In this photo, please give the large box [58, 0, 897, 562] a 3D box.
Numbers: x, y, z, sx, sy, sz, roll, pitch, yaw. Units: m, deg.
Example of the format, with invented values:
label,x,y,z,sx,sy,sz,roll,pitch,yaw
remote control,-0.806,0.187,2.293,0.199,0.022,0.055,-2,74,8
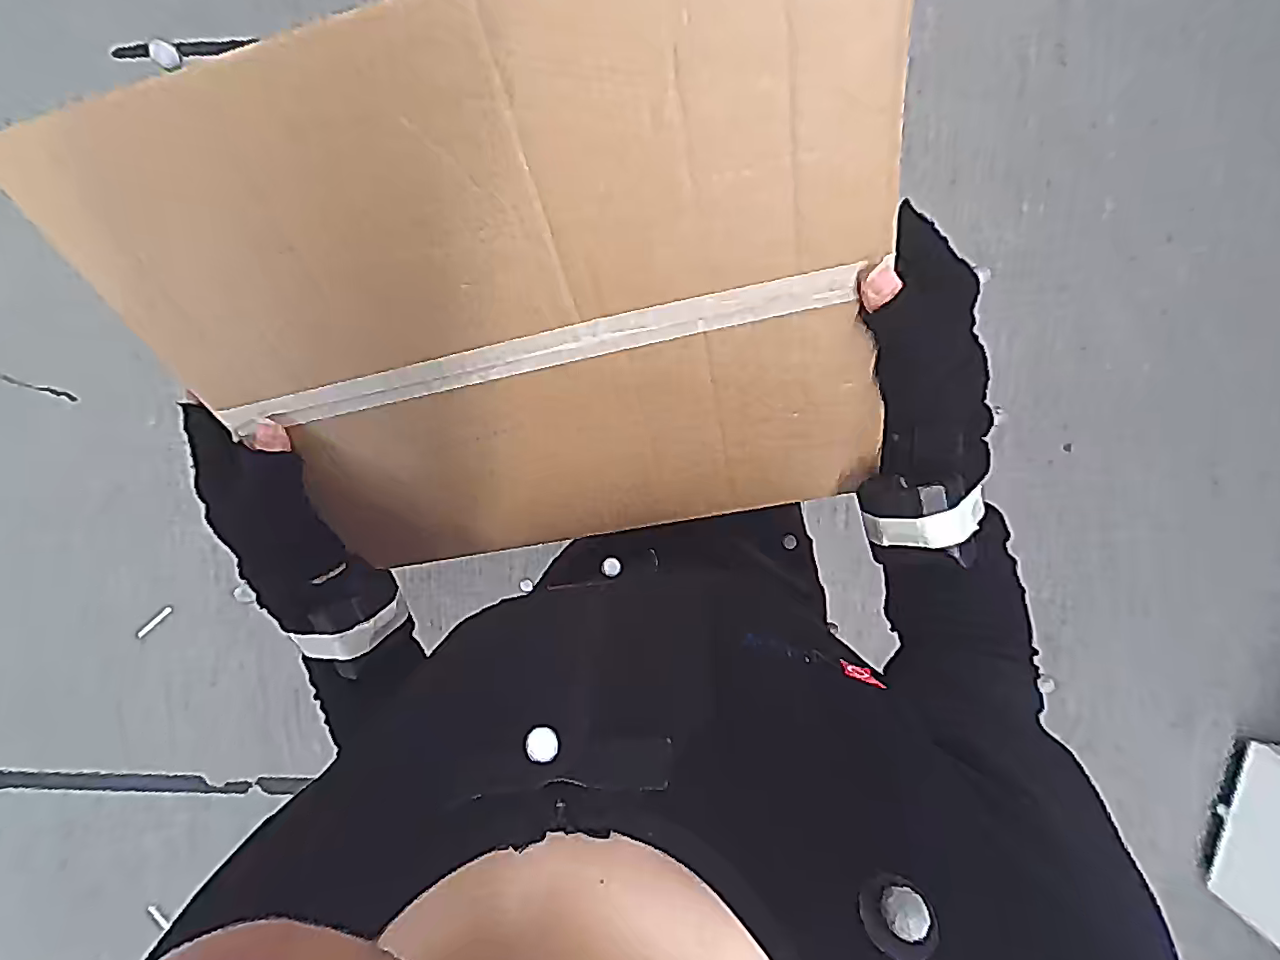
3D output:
label,x,y,z,sx,sy,sz,roll,pitch,yaw
large box,-0.061,-0.176,0.438,0.408,0.320,0.320,-11,132,9
